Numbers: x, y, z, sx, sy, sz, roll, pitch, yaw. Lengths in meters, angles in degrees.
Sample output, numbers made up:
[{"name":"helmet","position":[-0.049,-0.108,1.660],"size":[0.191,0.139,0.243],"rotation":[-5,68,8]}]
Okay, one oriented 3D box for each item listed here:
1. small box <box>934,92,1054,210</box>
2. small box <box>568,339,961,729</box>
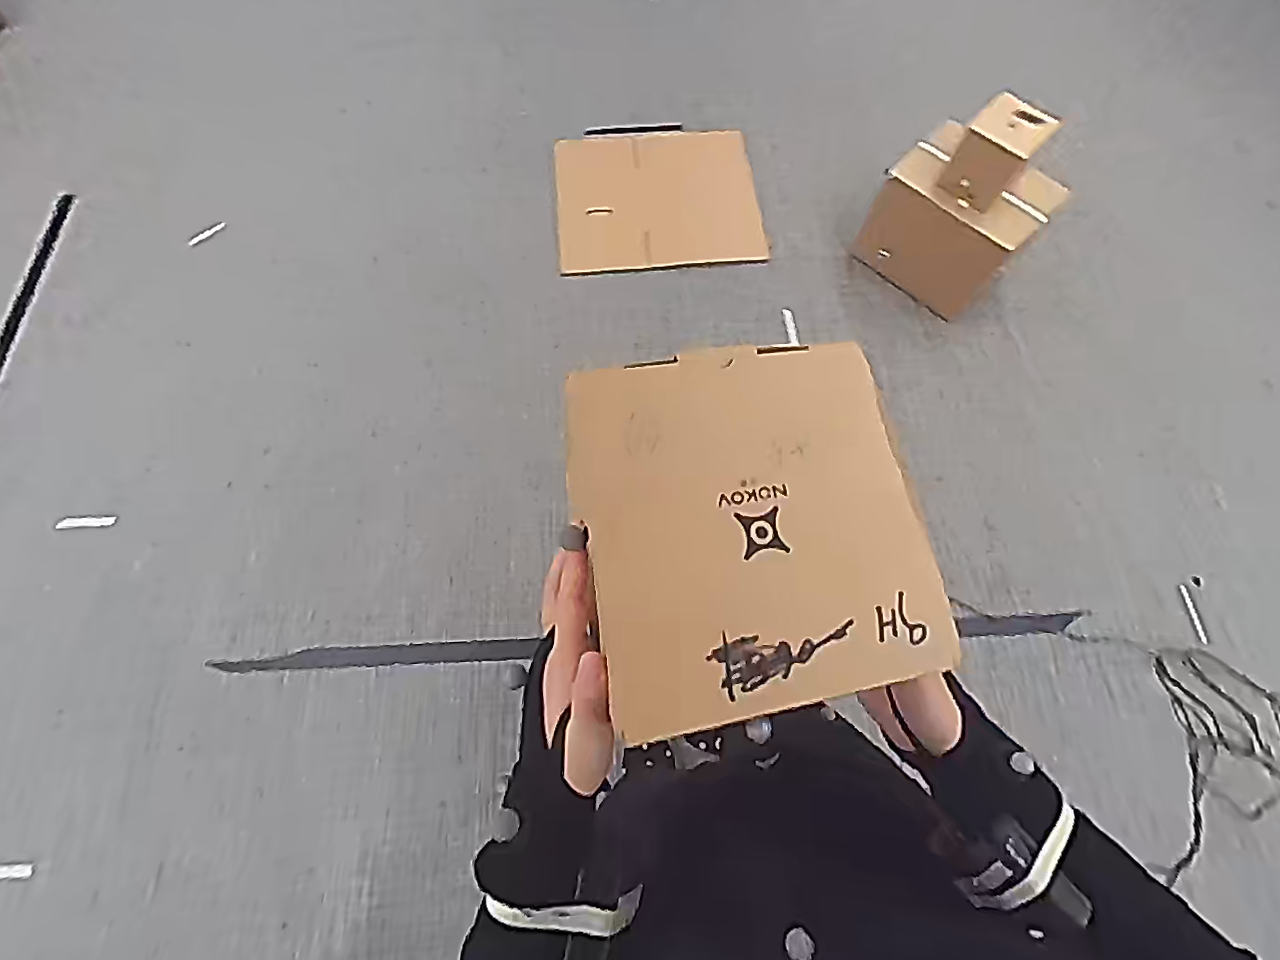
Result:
[{"name":"small box","position":[0.923,-0.864,1.428],"size":[0.168,0.176,0.179],"rotation":[42,76,14]},{"name":"small box","position":[0.047,0.038,0.338],"size":[0.168,0.176,0.179],"rotation":[-9,74,-9]}]
